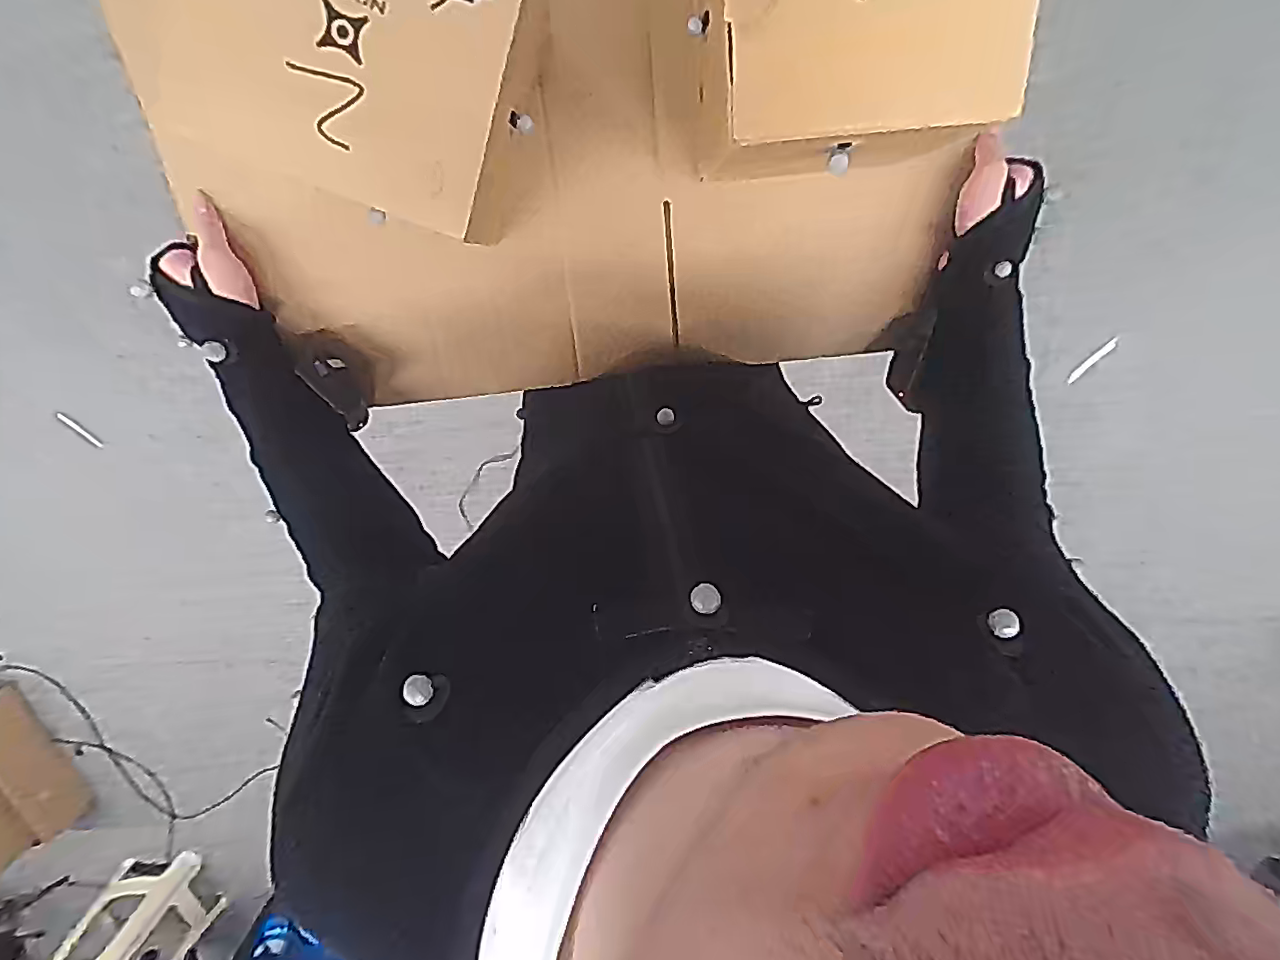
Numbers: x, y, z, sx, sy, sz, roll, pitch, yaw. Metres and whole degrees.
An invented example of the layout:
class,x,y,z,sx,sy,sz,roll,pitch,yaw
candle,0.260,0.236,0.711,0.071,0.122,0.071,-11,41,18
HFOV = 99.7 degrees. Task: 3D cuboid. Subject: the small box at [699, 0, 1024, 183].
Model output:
class,x,y,z,sx,sy,sz,roll,pitch,yaw
small box,0.140,-0.321,0.388,0.179,0.176,0.168,-4,112,2
